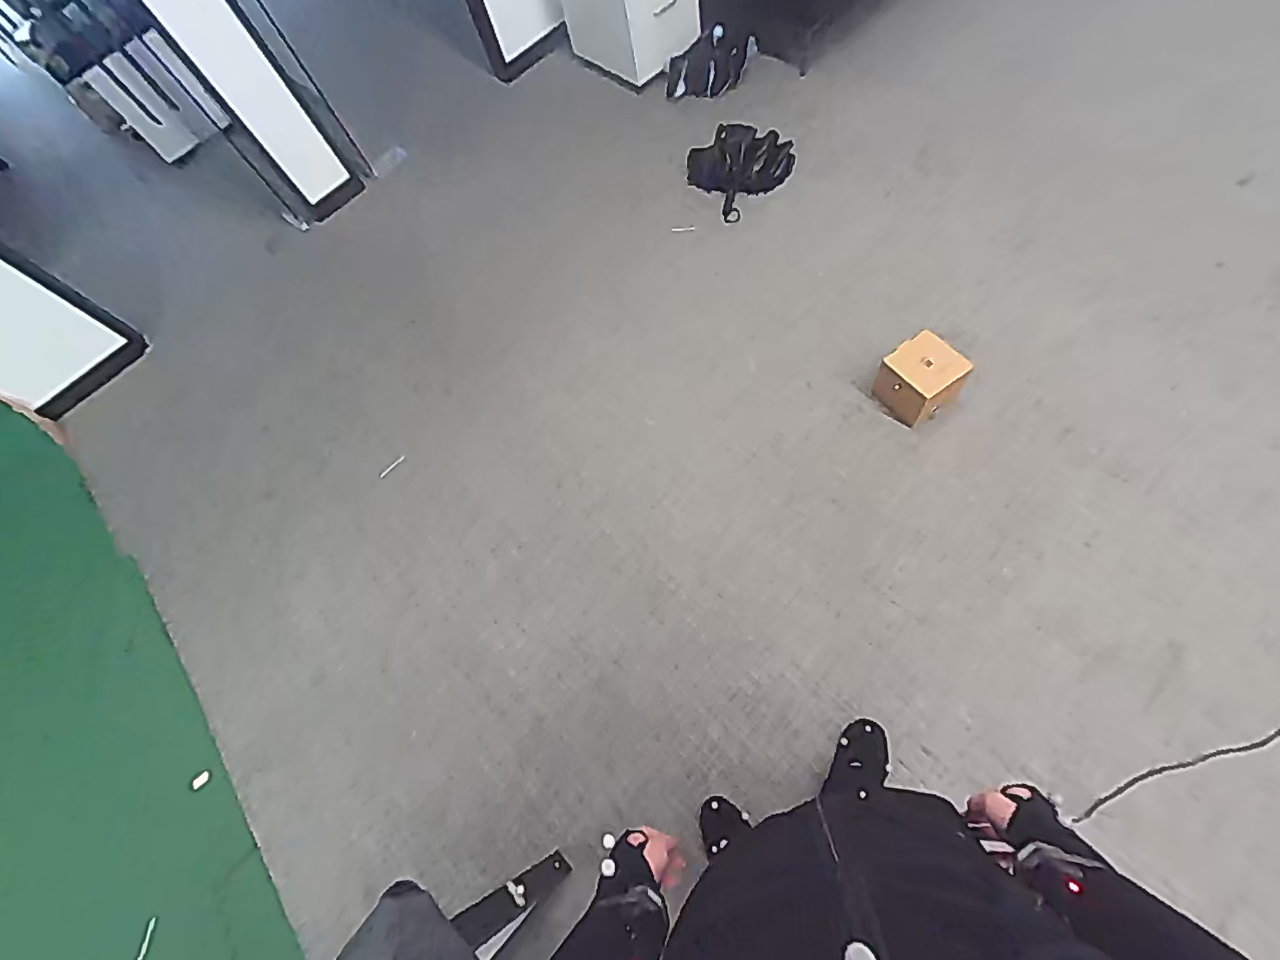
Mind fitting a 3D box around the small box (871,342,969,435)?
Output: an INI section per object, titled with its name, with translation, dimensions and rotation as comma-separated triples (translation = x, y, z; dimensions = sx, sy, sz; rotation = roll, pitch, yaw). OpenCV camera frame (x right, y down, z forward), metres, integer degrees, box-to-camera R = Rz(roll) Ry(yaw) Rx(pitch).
[small box]
translation = 0.814, -0.265, 1.597
dimensions = 0.168, 0.176, 0.179
rotation = -34, 65, -5
